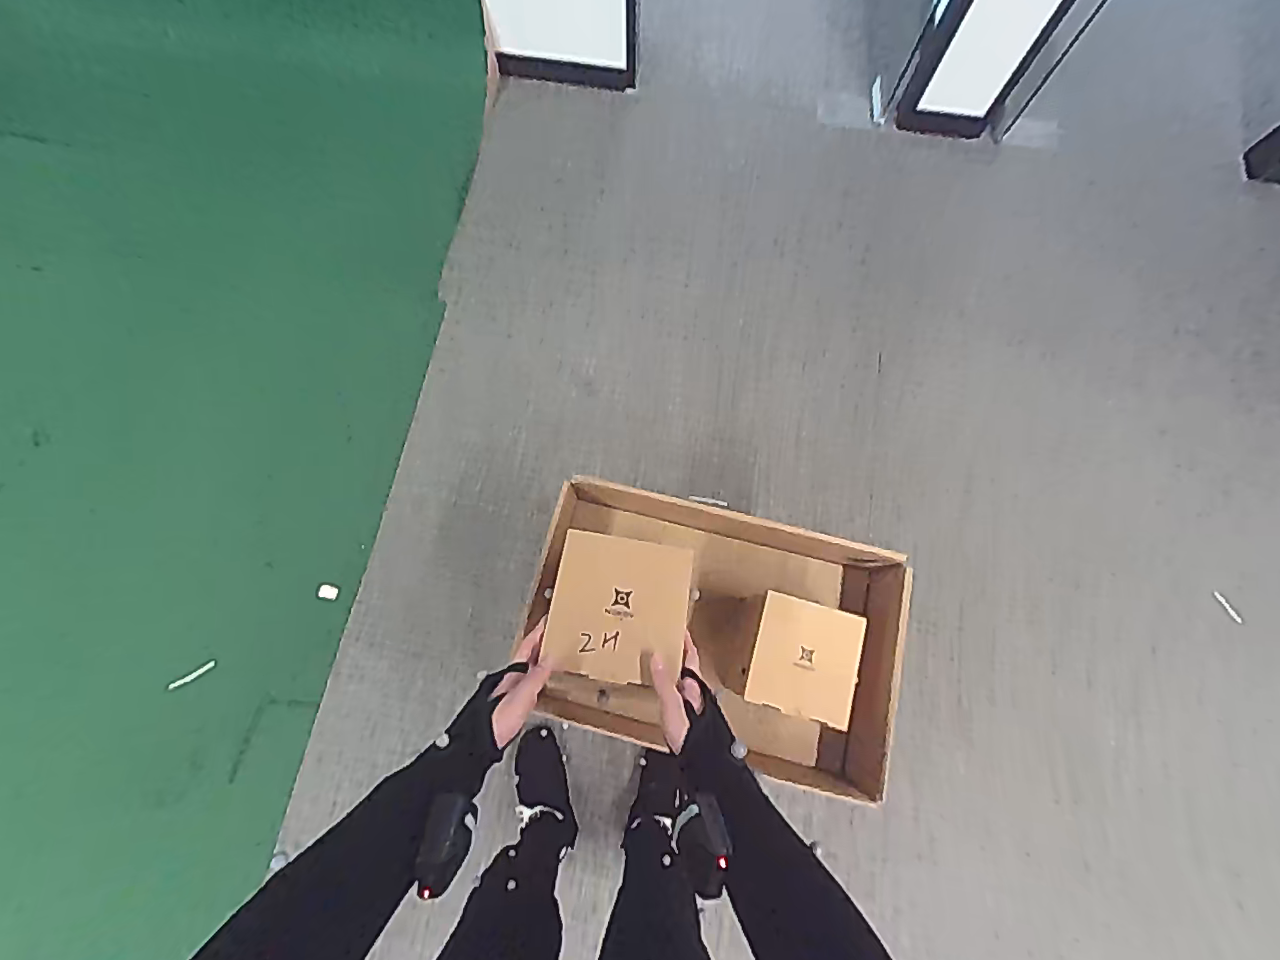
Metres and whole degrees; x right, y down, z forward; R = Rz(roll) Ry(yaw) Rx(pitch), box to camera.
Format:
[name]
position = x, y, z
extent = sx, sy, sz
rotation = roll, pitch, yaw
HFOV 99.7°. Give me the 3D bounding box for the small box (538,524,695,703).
[small box]
position = -0.030, 0.182, 0.714
extent = 0.168, 0.176, 0.179
rotation = 10, 61, 0
